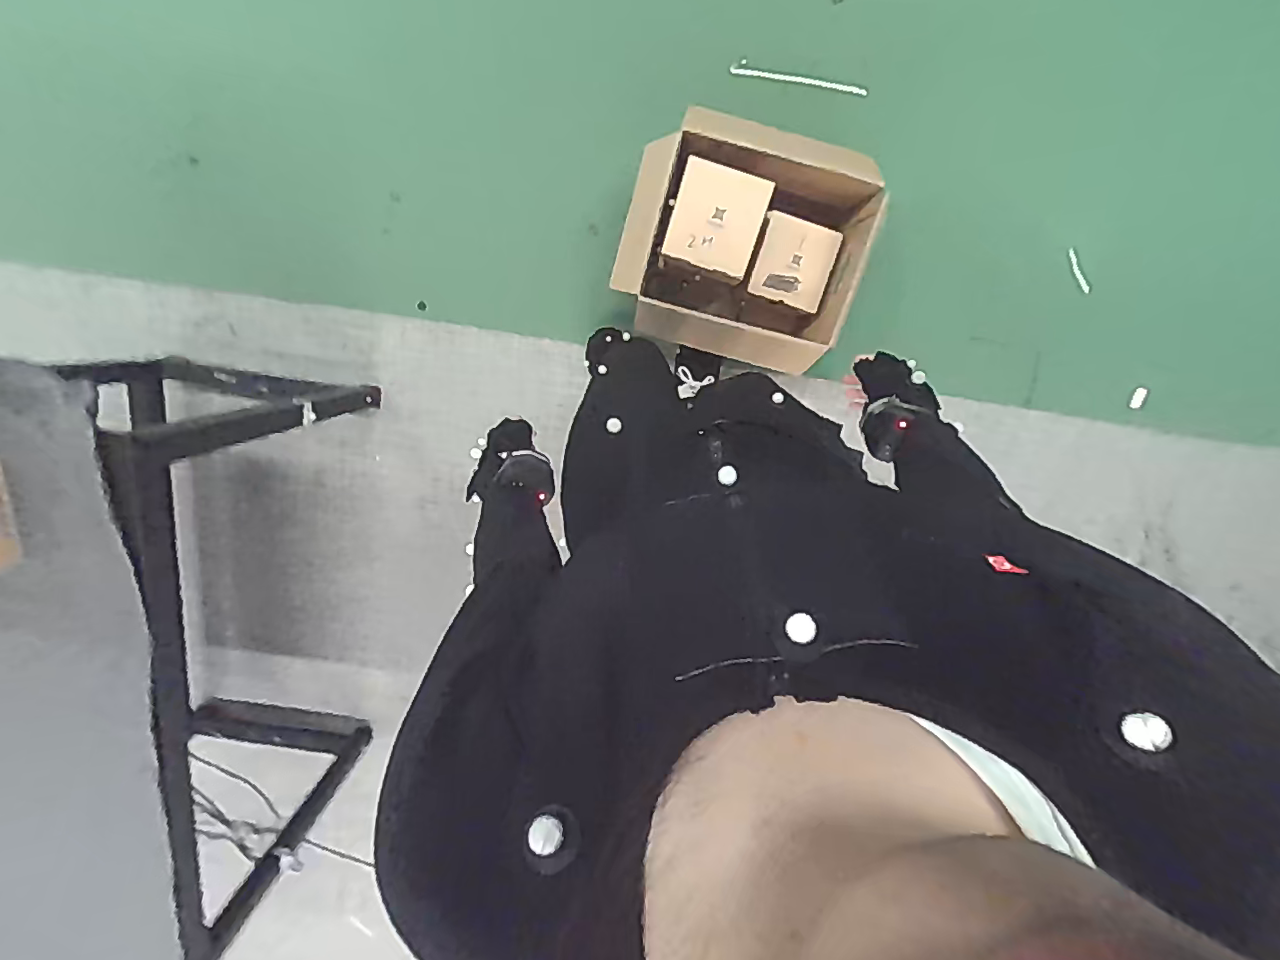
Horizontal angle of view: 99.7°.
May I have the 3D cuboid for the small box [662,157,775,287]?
[{"bbox_3d":[0.147,-0.501,1.076,0.168,0.176,0.179,18,105,-1],"label":"small box"}]
